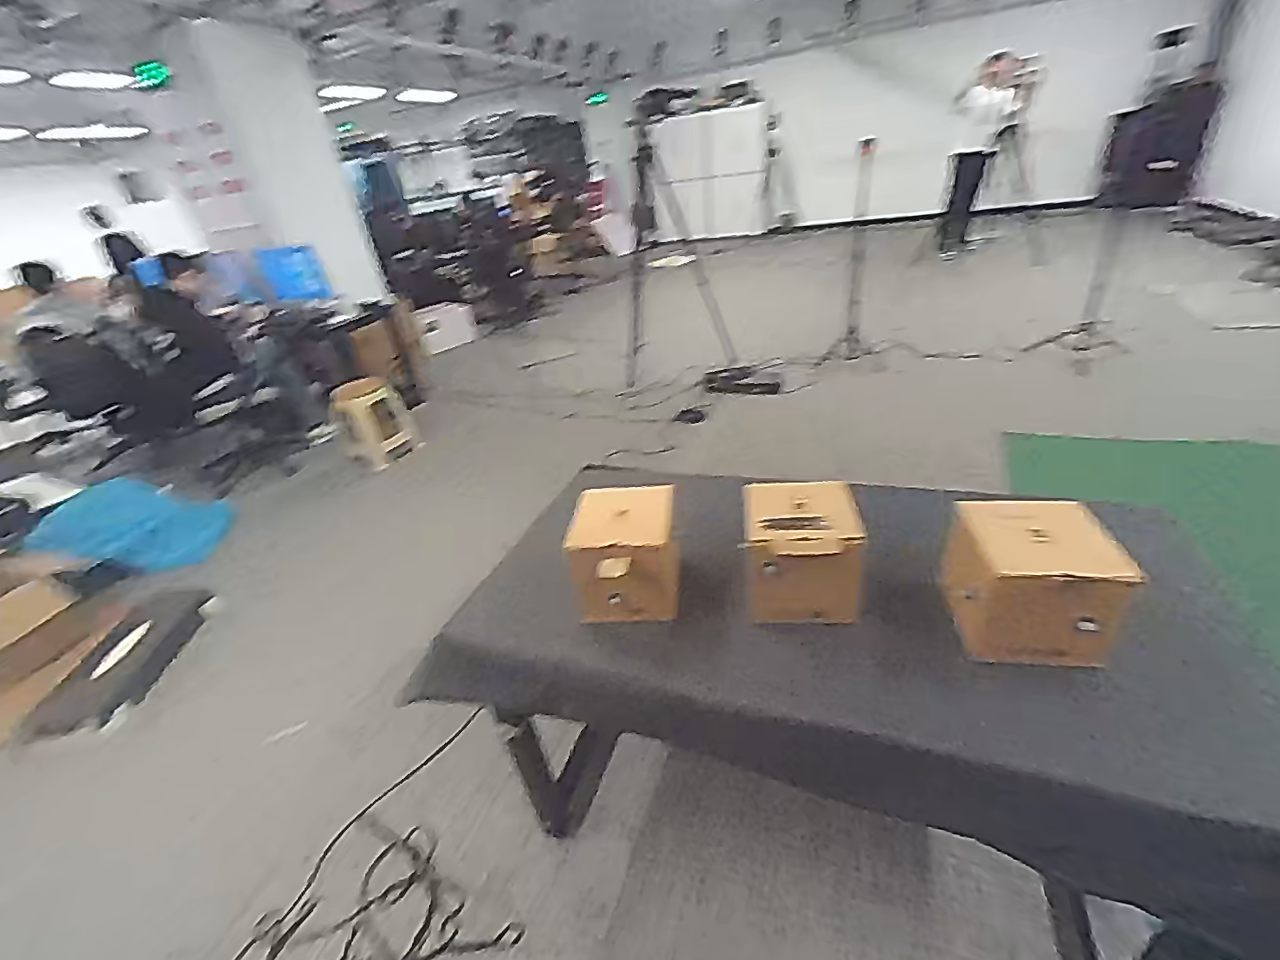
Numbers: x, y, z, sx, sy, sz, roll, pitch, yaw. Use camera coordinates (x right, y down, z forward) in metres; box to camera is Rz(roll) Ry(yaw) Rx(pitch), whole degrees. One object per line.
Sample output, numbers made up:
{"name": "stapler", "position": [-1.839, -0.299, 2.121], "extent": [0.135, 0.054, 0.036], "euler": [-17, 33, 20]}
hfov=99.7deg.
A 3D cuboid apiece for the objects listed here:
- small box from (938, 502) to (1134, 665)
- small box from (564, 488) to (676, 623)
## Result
{"name": "small box", "position": [0.559, 0.148, 0.794], "extent": [0.168, 0.176, 0.179], "euler": [0, 30, 12]}
{"name": "small box", "position": [-0.026, 0.132, 0.966], "extent": [0.168, 0.176, 0.179], "euler": [-3, 31, 8]}
